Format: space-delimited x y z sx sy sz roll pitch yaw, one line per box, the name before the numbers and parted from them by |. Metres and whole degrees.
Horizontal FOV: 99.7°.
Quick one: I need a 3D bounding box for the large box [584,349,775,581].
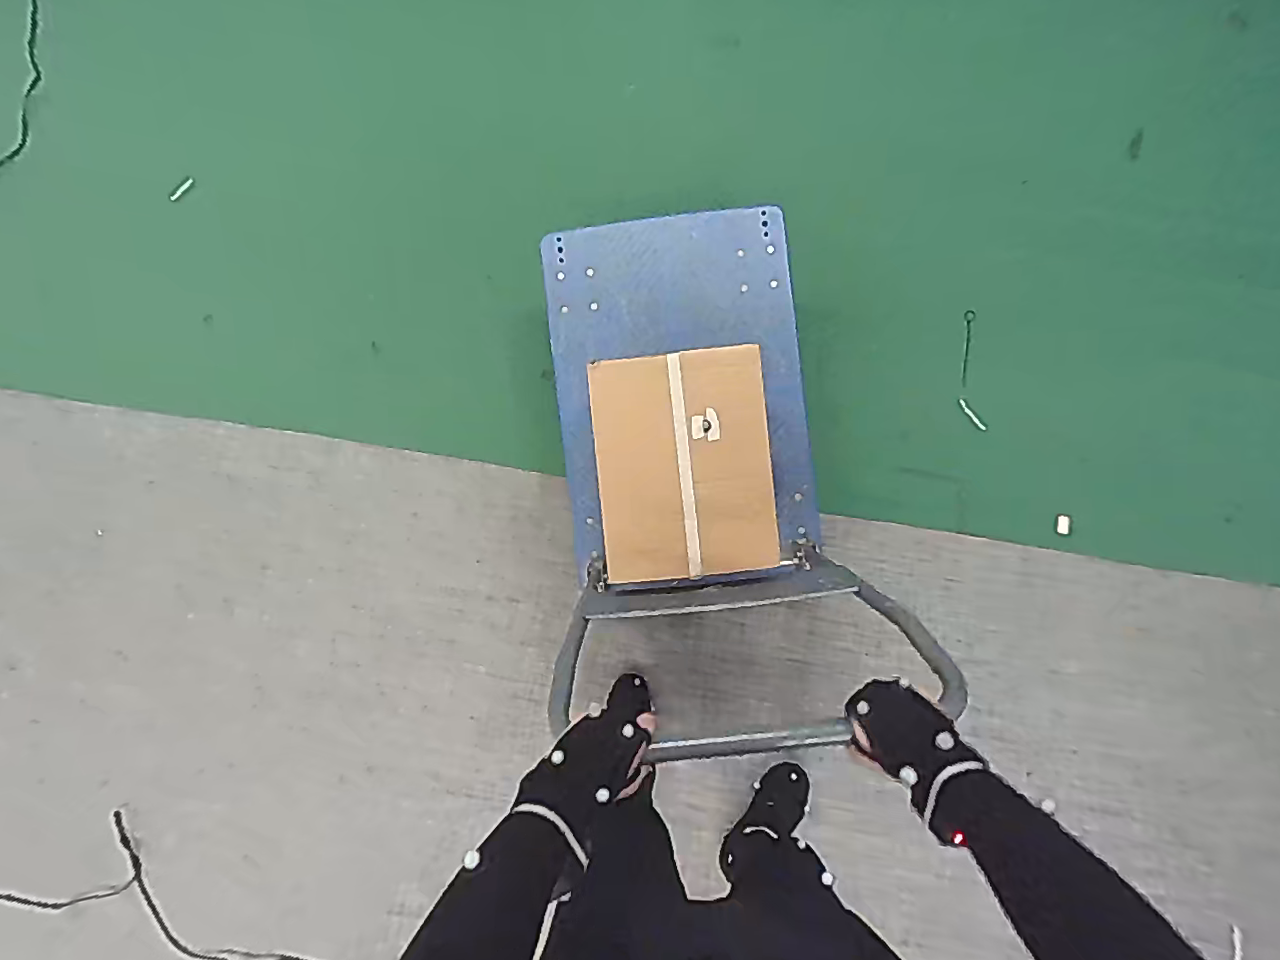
large box | 0.078 -0.028 1.142 0.320 0.320 0.408 -6 91 1
